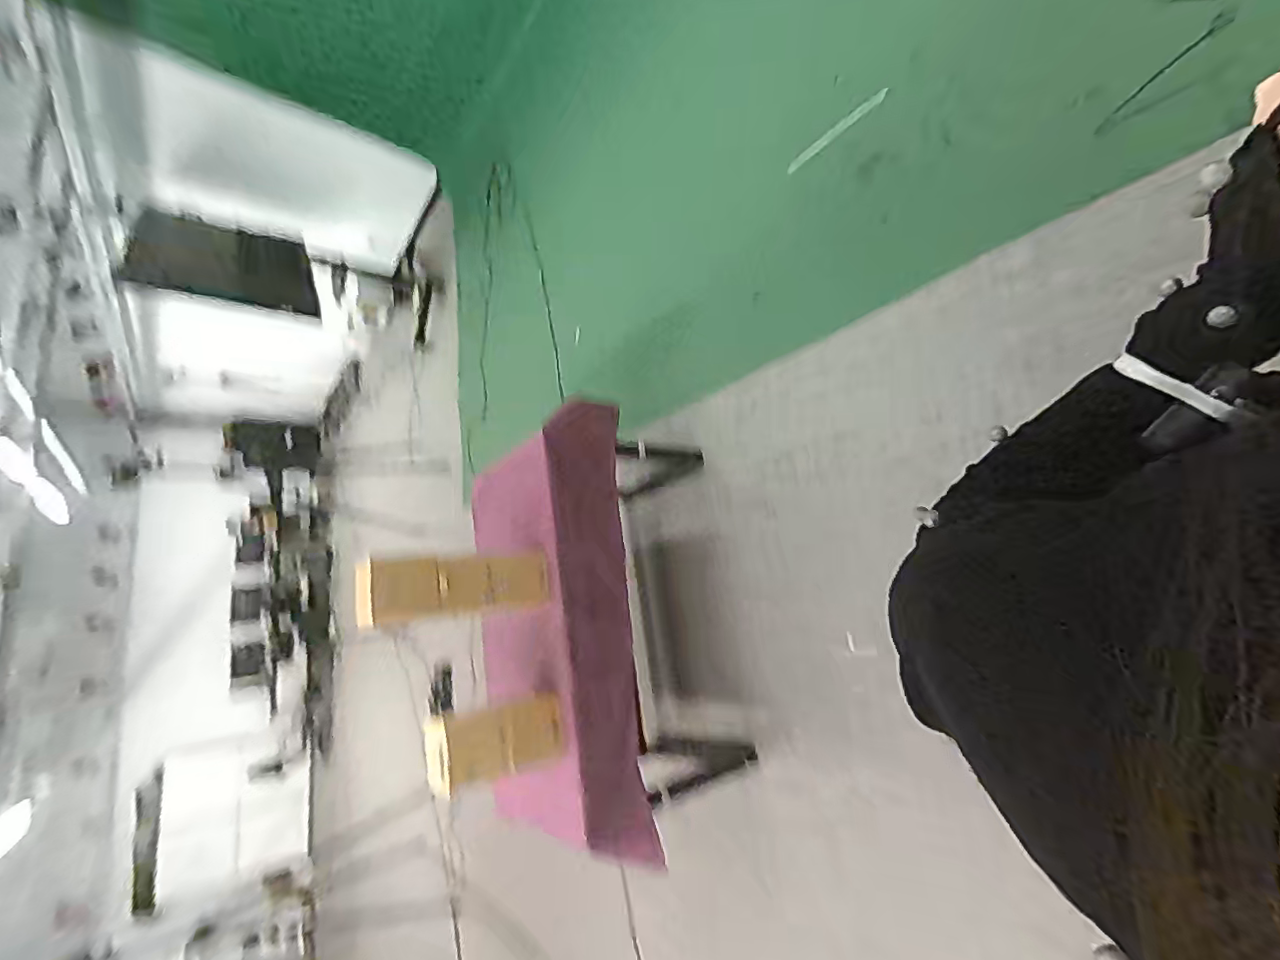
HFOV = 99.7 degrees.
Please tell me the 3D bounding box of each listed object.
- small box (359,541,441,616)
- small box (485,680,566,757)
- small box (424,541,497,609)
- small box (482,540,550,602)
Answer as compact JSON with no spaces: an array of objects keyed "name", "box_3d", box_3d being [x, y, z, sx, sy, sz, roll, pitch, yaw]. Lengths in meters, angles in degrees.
[{"name":"small box","box_3d":[-0.650,0.266,1.466,0.168,0.176,0.179,-23,70,47]},{"name":"small box","box_3d":[-0.333,0.686,1.574,0.179,0.176,0.168,-22,71,48]},{"name":"small box","box_3d":[-0.524,0.275,1.572,0.179,0.176,0.168,-25,69,48]},{"name":"small box","box_3d":[-0.395,0.282,1.674,0.179,0.176,0.168,-24,71,49]}]
